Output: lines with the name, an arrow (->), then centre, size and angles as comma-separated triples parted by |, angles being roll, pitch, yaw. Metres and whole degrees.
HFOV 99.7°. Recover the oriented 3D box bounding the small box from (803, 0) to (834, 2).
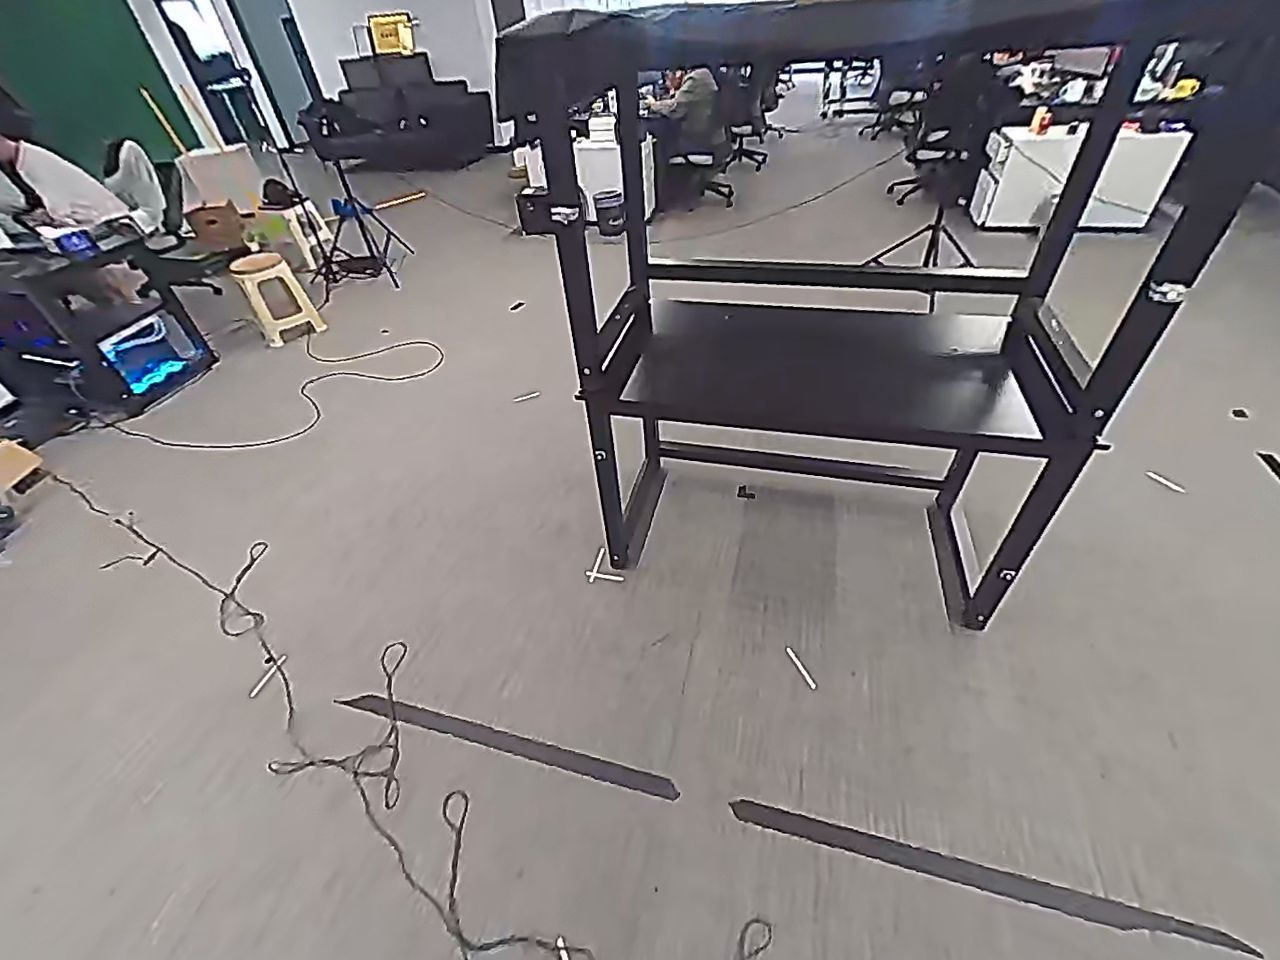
small box -> 0.337, -0.858, 0.837 | 0.168, 0.176, 0.179 | 8, 41, 15
